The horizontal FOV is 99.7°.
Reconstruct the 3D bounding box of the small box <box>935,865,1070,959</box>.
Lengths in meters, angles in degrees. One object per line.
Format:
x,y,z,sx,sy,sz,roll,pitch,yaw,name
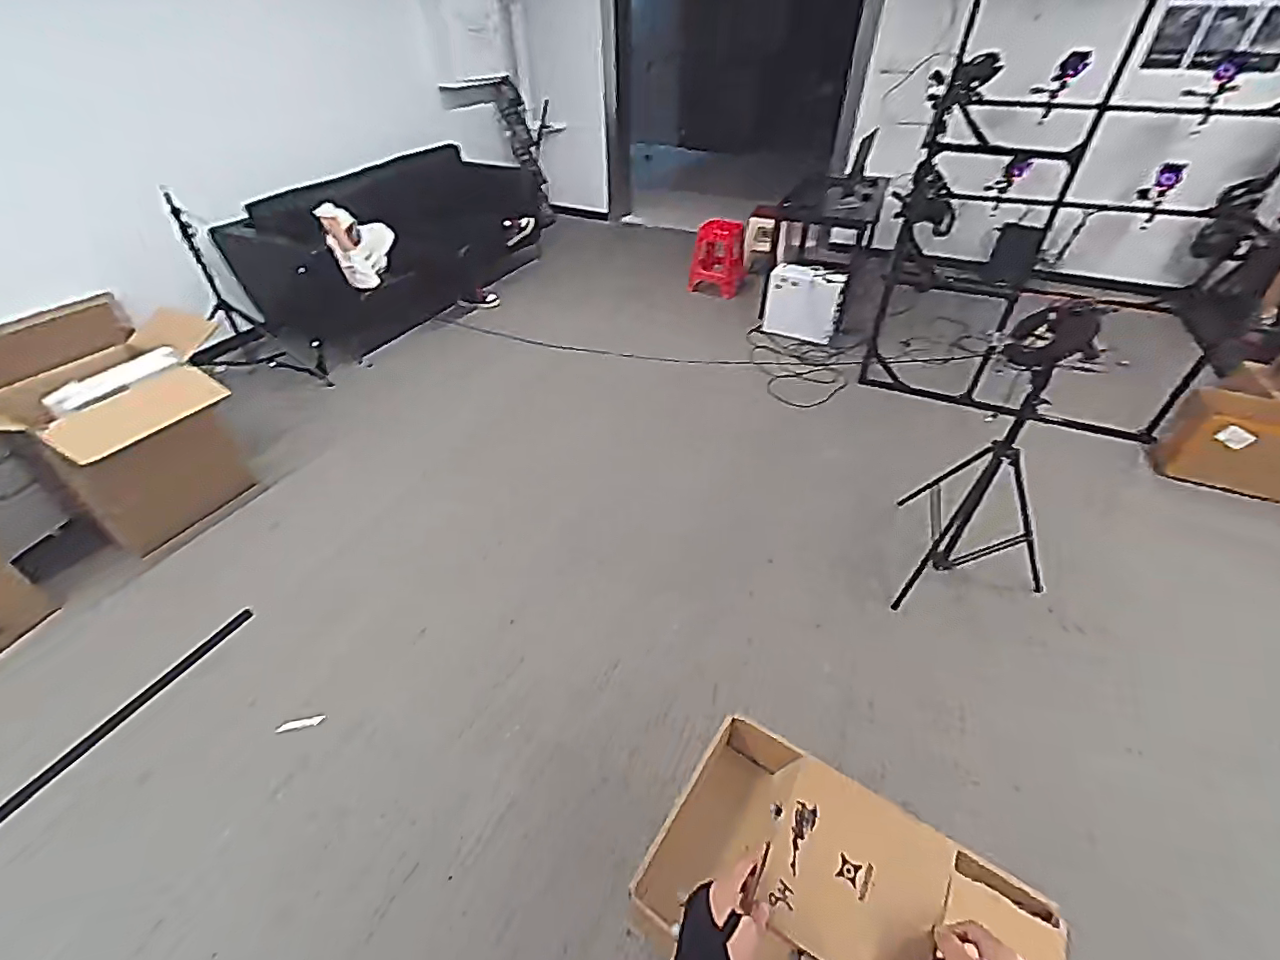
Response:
0.444,0.668,0.731,0.168,0.176,0.179,22,44,24,small box

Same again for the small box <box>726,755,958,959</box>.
0.217,0.446,0.615,0.179,0.176,0.168,26,59,16,small box
